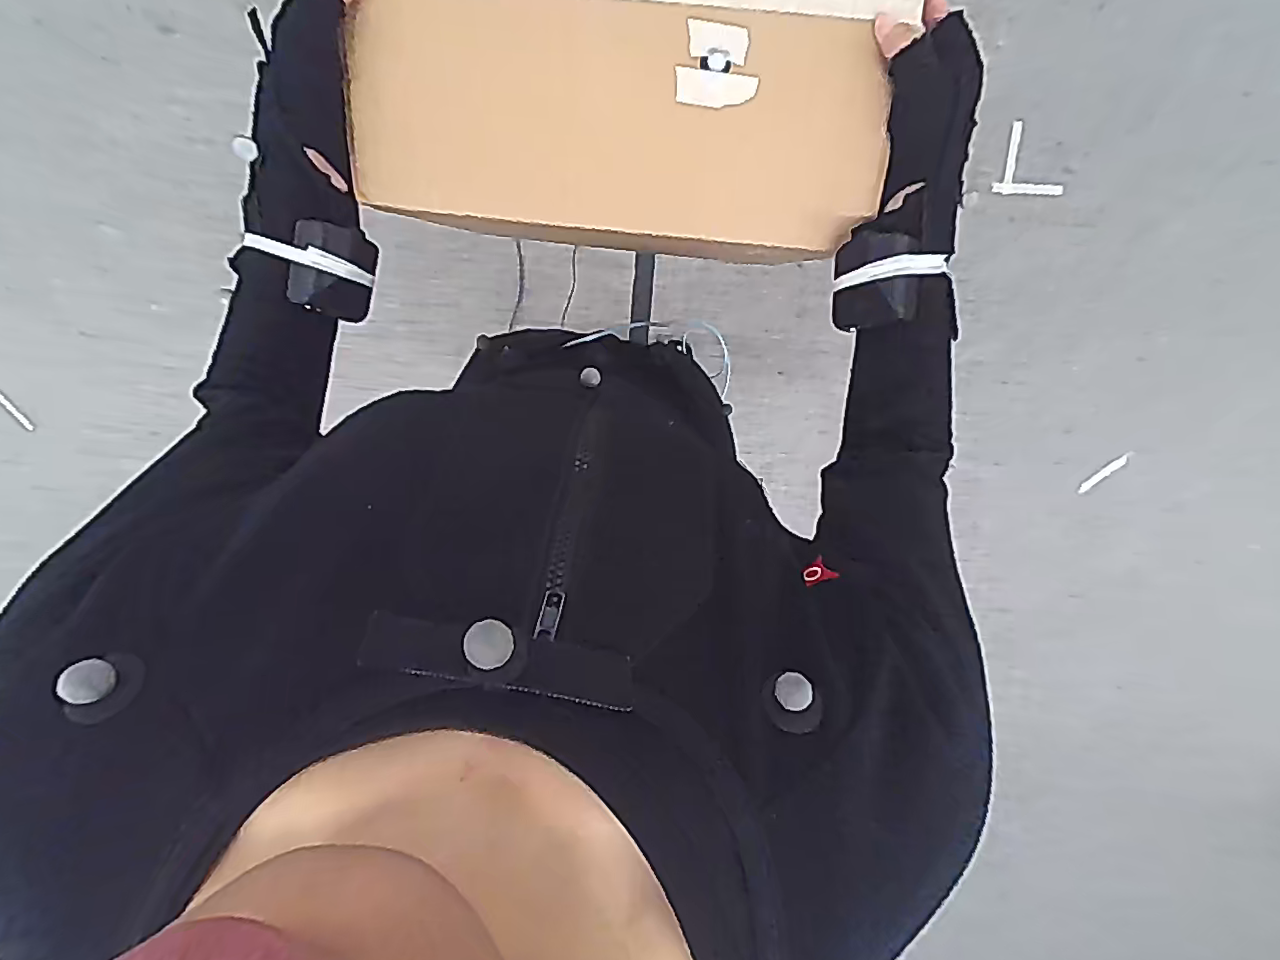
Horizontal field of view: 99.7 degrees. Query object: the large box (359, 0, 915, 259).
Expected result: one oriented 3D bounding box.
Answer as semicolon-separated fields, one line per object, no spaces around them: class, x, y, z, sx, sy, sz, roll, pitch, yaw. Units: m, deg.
large box;-0.002;-0.399;0.524;0.408;0.320;0.320;5;112;-1
